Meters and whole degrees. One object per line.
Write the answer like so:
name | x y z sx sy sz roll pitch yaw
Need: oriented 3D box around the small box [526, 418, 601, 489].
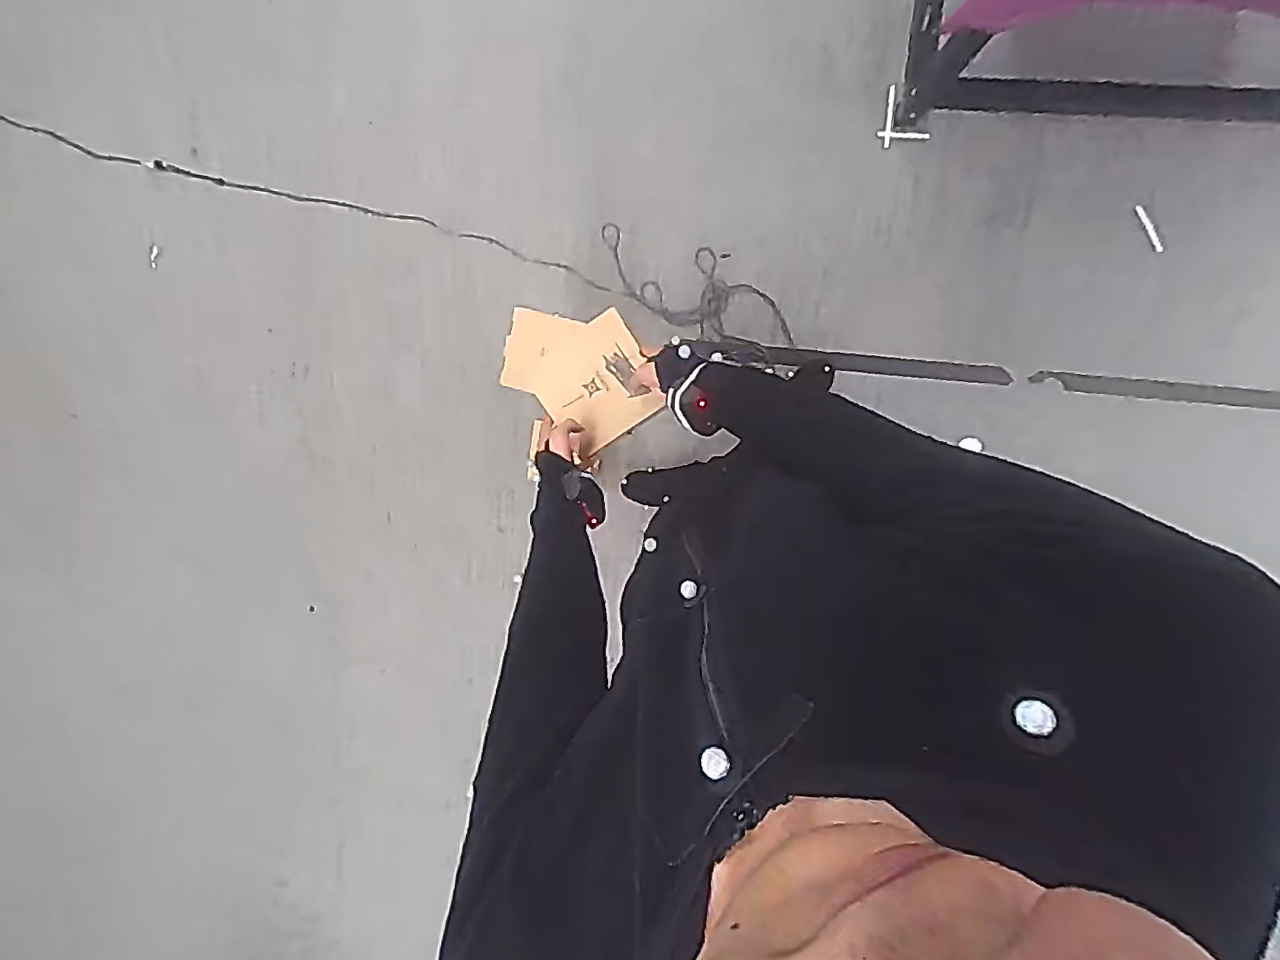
small box | -0.211 -0.082 1.550 0.179 0.176 0.168 10 100 2

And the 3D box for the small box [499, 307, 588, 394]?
small box | -0.186 -0.267 1.190 0.179 0.176 0.168 15 100 2

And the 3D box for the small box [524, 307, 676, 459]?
small box | -0.056 -0.155 0.890 0.179 0.176 0.168 -33 93 9
